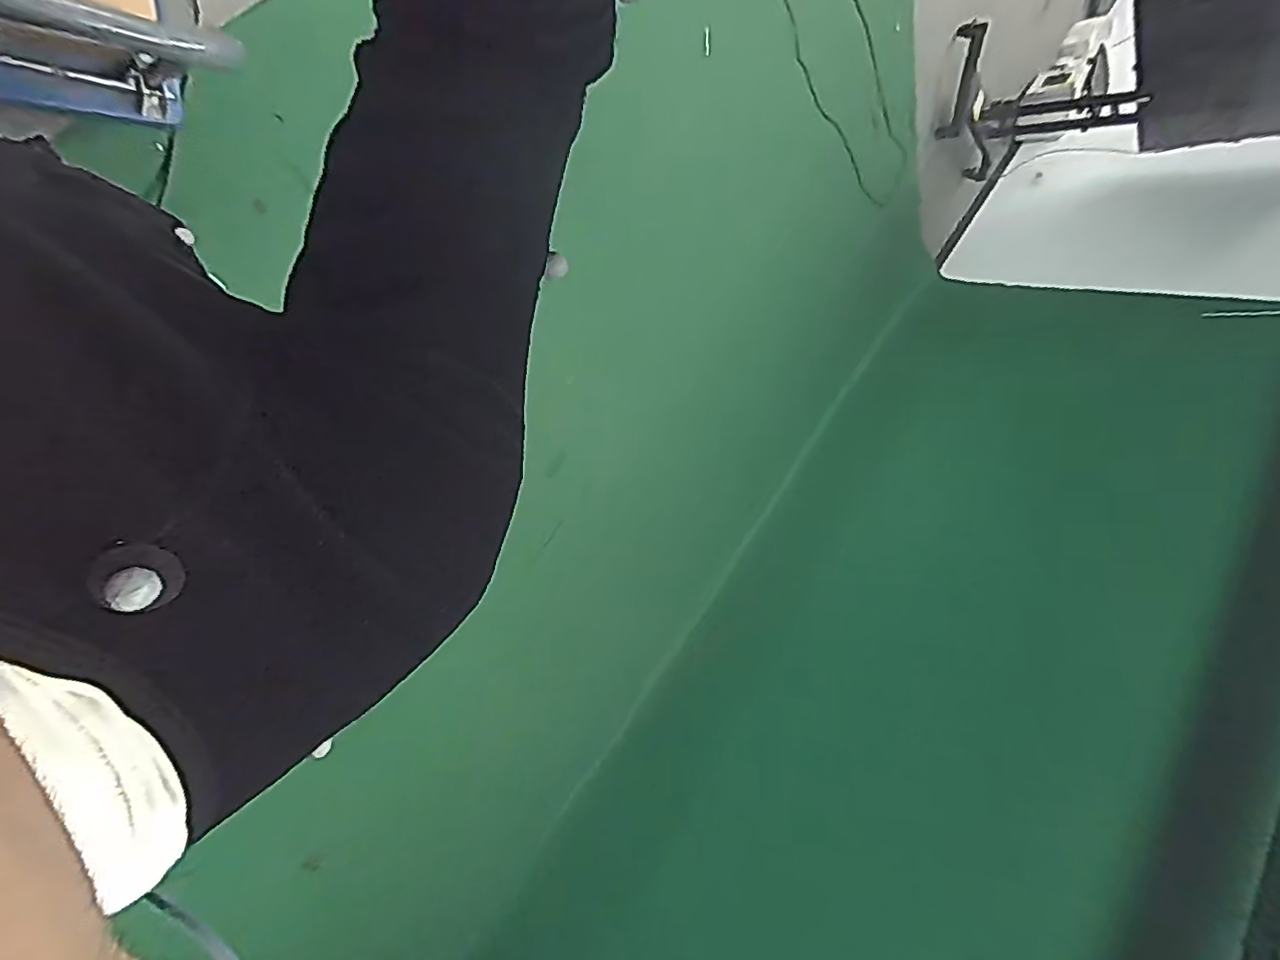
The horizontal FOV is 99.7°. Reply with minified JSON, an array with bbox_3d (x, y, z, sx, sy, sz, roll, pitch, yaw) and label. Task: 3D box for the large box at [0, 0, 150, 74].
[{"bbox_3d":[-0.922,-0.834,0.710,0.320,0.320,0.408,-20,120,-42],"label":"large box"}]
